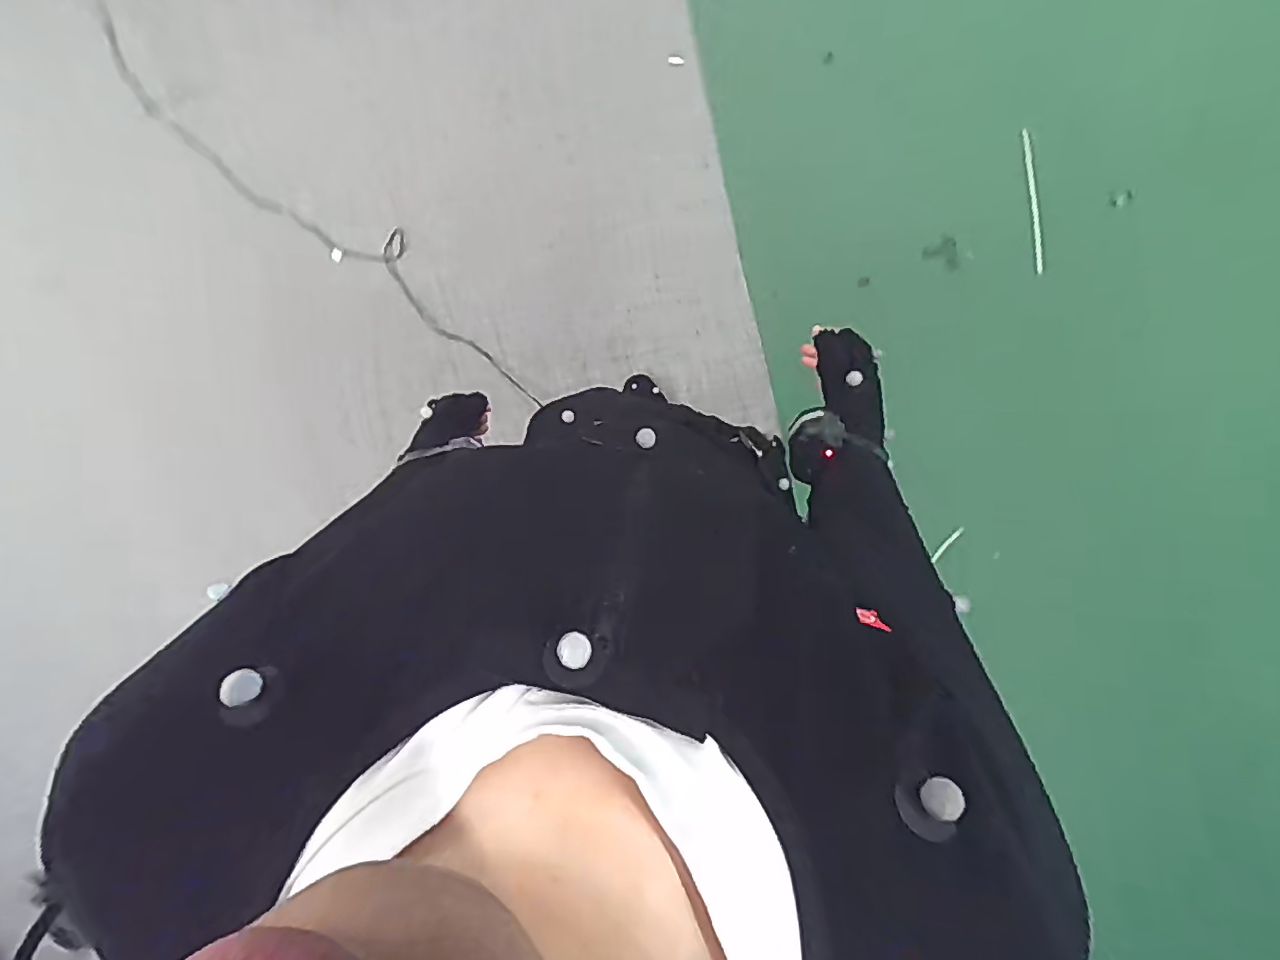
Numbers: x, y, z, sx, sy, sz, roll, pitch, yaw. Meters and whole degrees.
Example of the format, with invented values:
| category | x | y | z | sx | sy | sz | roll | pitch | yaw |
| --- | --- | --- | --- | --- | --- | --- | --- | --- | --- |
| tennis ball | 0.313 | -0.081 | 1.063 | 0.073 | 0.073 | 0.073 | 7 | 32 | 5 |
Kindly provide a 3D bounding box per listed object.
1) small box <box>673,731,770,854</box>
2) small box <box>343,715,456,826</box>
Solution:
| category | x | y | z | sx | sy | sz | roll | pitch | yaw |
| --- | --- | --- | --- | --- | --- | --- | --- | --- | --- |
| small box | 0.189 | 0.733 | 1.291 | 0.168 | 0.176 | 0.179 | -26 | 99 | 11 |
| small box | -0.550 | 0.674 | 1.268 | 0.179 | 0.176 | 0.168 | -7 | 99 | 8 |
